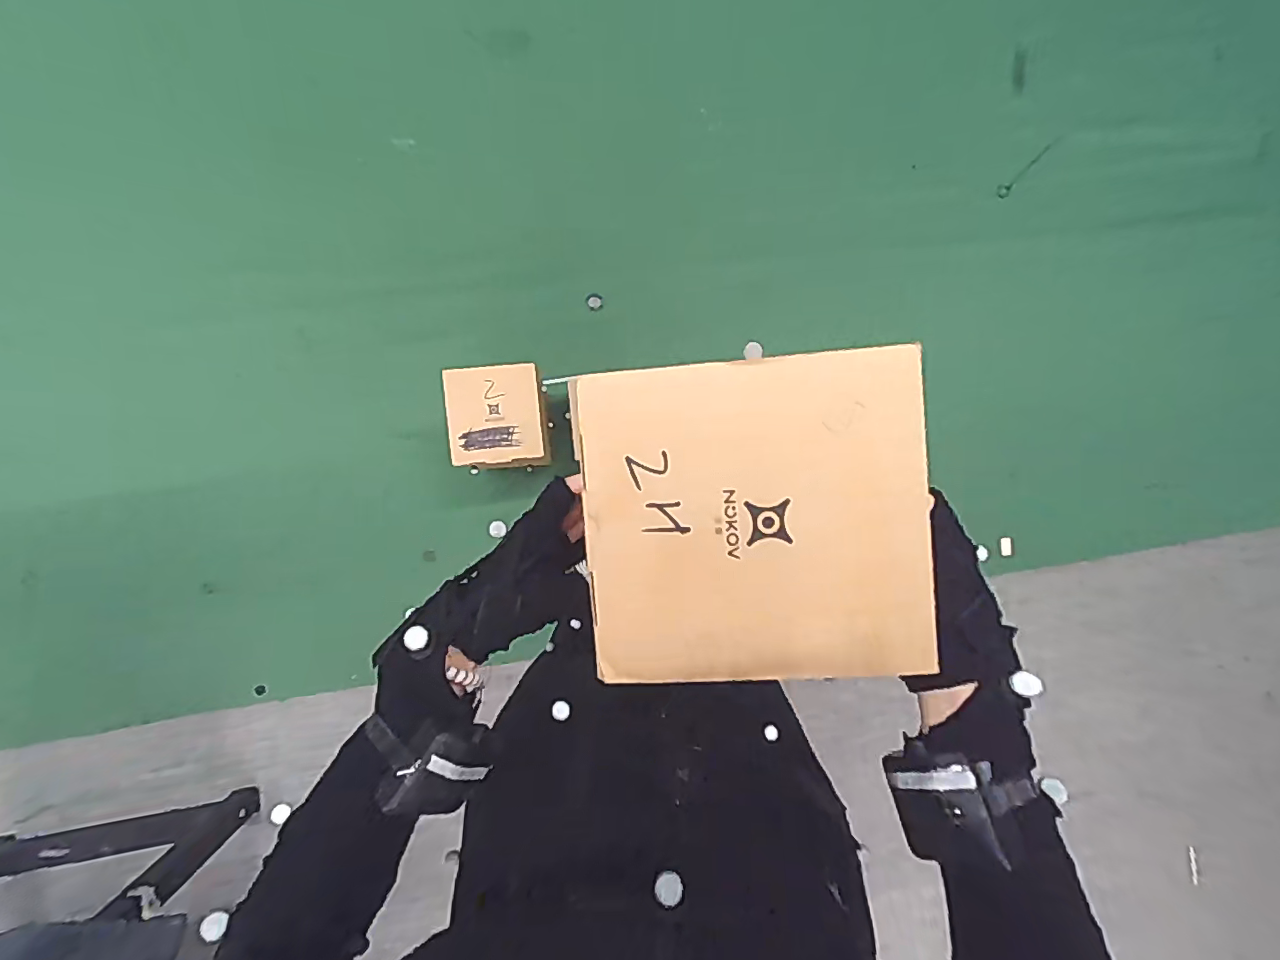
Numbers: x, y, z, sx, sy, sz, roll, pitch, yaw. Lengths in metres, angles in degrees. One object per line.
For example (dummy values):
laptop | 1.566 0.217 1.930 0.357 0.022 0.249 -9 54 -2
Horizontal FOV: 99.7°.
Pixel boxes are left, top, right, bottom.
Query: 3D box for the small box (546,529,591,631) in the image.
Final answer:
small box | -0.095 0.218 1.253 0.179 0.176 0.168 37 107 16

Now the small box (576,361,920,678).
small box | 0.063 0.019 0.365 0.179 0.176 0.168 -4 92 6

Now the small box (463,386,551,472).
small box | -0.293 -0.110 1.221 0.168 0.176 0.179 -4 91 -5
